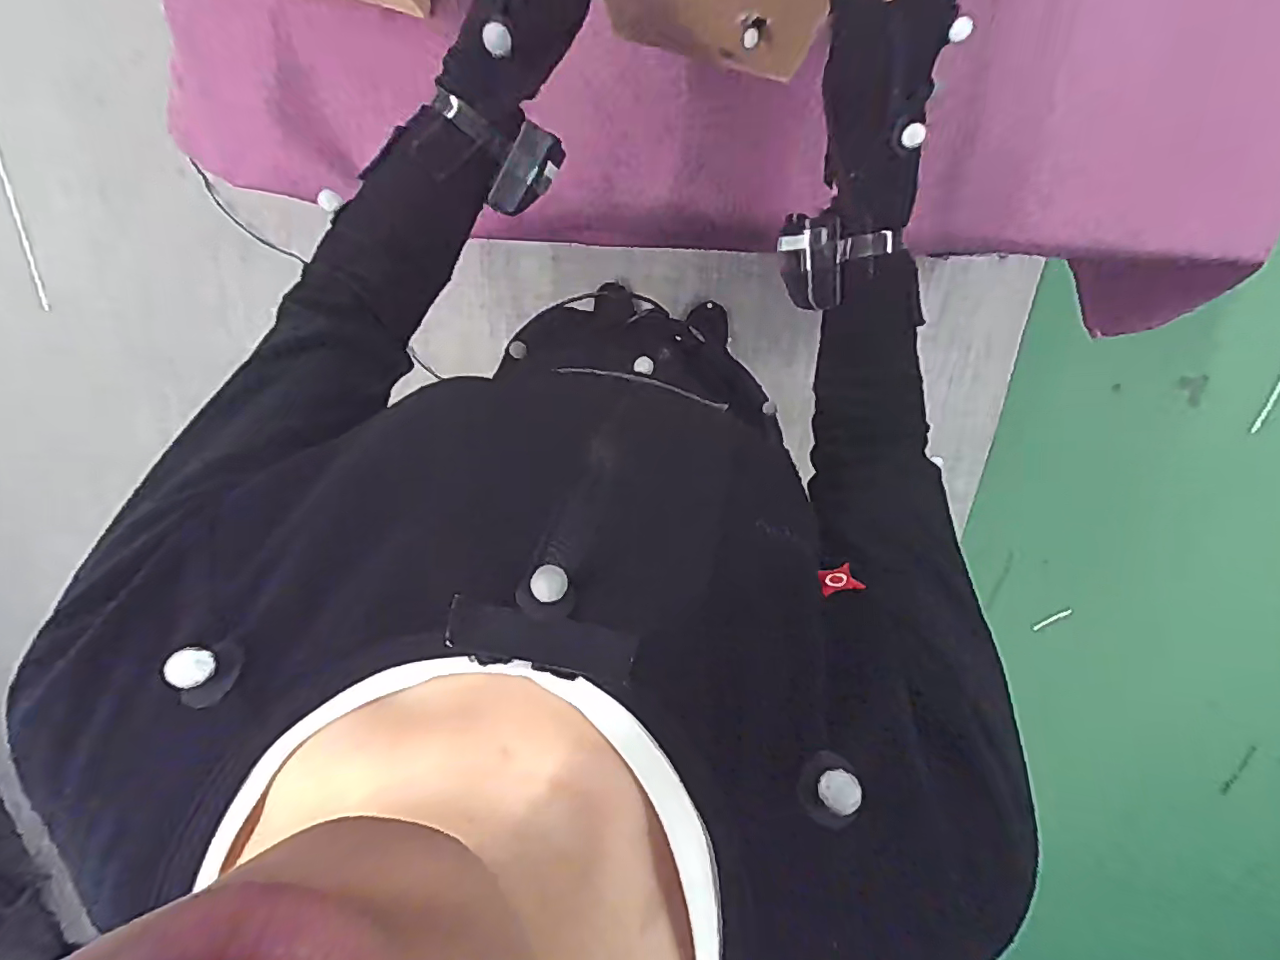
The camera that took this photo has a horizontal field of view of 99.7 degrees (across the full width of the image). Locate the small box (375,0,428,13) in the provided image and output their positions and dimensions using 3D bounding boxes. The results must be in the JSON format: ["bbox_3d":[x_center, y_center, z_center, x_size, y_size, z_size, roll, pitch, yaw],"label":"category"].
[{"bbox_3d":[-0.280,-0.549,0.457,0.168,0.176,0.179,14,111,-3],"label":"small box"}]

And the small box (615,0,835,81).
[{"bbox_3d":[0.074,-0.425,0.384,0.168,0.176,0.179,13,108,-3],"label":"small box"}]
